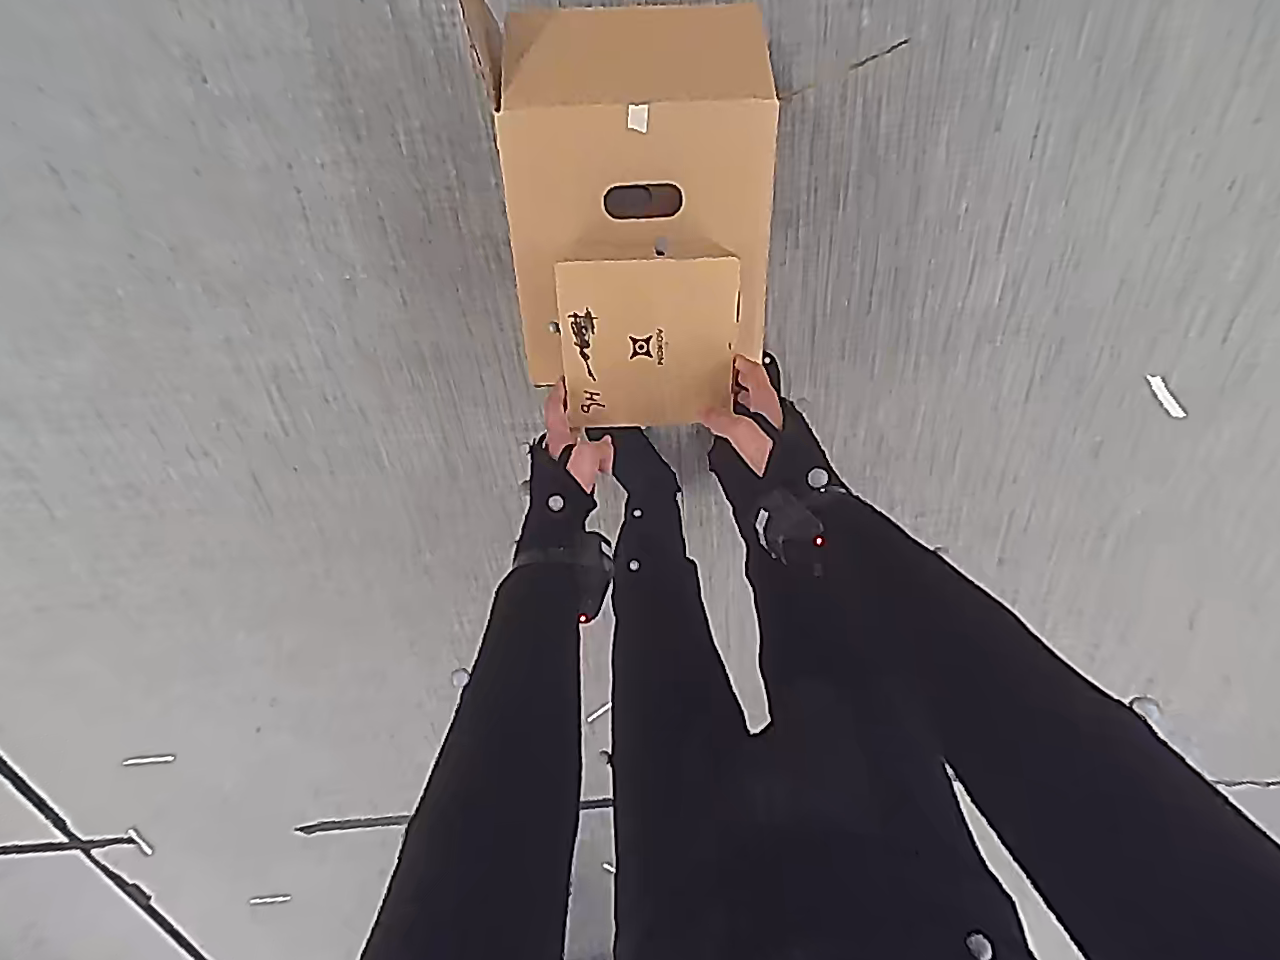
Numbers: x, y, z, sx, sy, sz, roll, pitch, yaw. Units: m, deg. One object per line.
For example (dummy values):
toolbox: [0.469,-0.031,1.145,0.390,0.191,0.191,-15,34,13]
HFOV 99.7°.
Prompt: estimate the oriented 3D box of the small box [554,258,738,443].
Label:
small box: [0.001,-0.153,0.610,0.179,0.176,0.168,-2,119,-2]
